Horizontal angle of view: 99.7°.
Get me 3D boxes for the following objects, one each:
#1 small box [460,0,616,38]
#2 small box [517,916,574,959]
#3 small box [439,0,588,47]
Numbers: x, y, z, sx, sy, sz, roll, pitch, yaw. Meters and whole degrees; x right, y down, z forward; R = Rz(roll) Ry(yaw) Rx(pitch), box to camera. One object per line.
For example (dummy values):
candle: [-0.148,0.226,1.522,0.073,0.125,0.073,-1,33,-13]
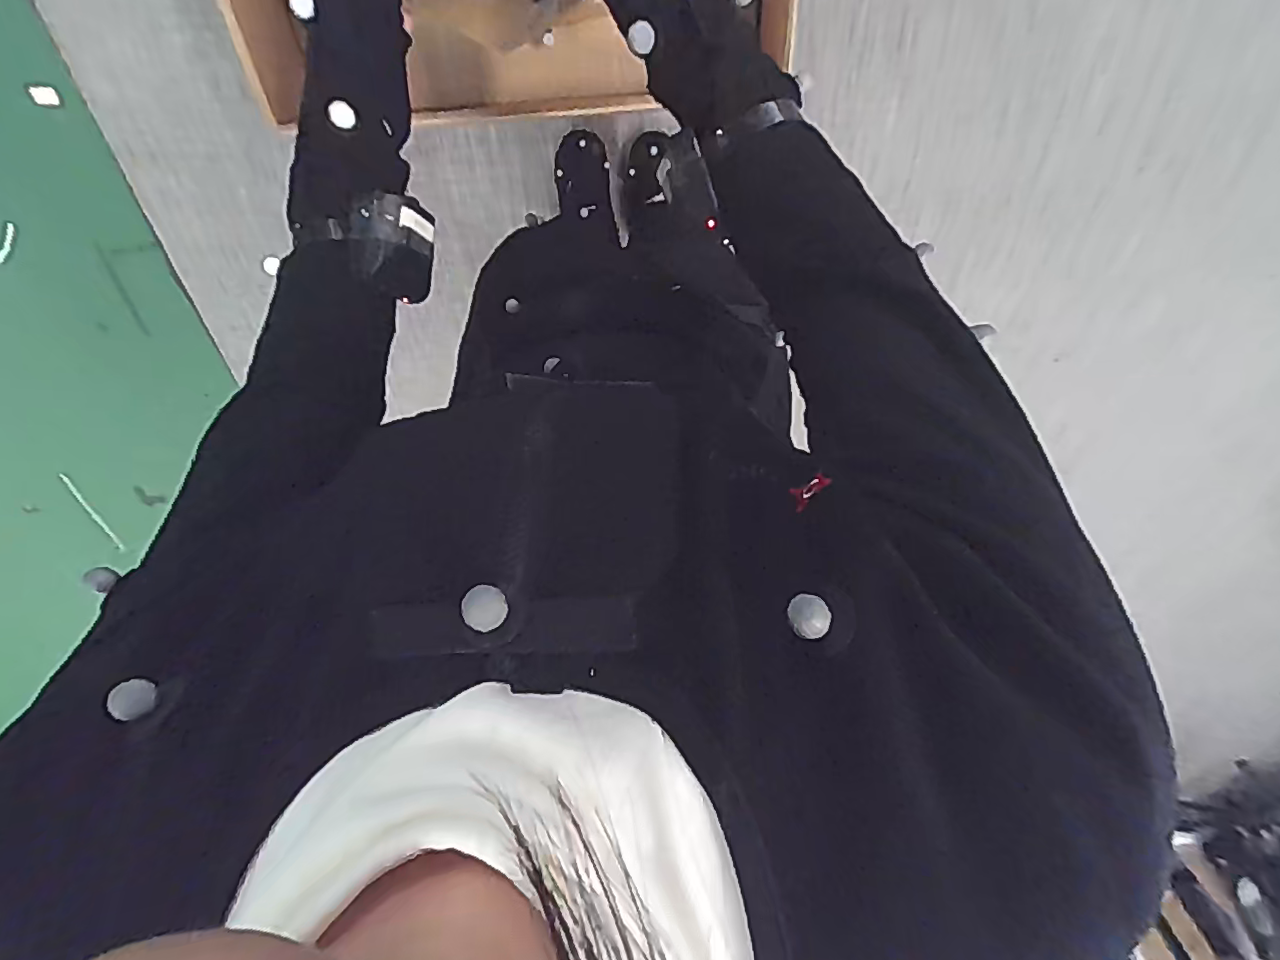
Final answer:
small box: [-0.123,-0.603,0.583,0.168,0.176,0.179,-8,127,7]
small box: [-0.325,1.635,1.869,0.168,0.176,0.179,-4,128,1]
small box: [-0.110,-0.462,0.380,0.168,0.176,0.179,-12,107,25]
